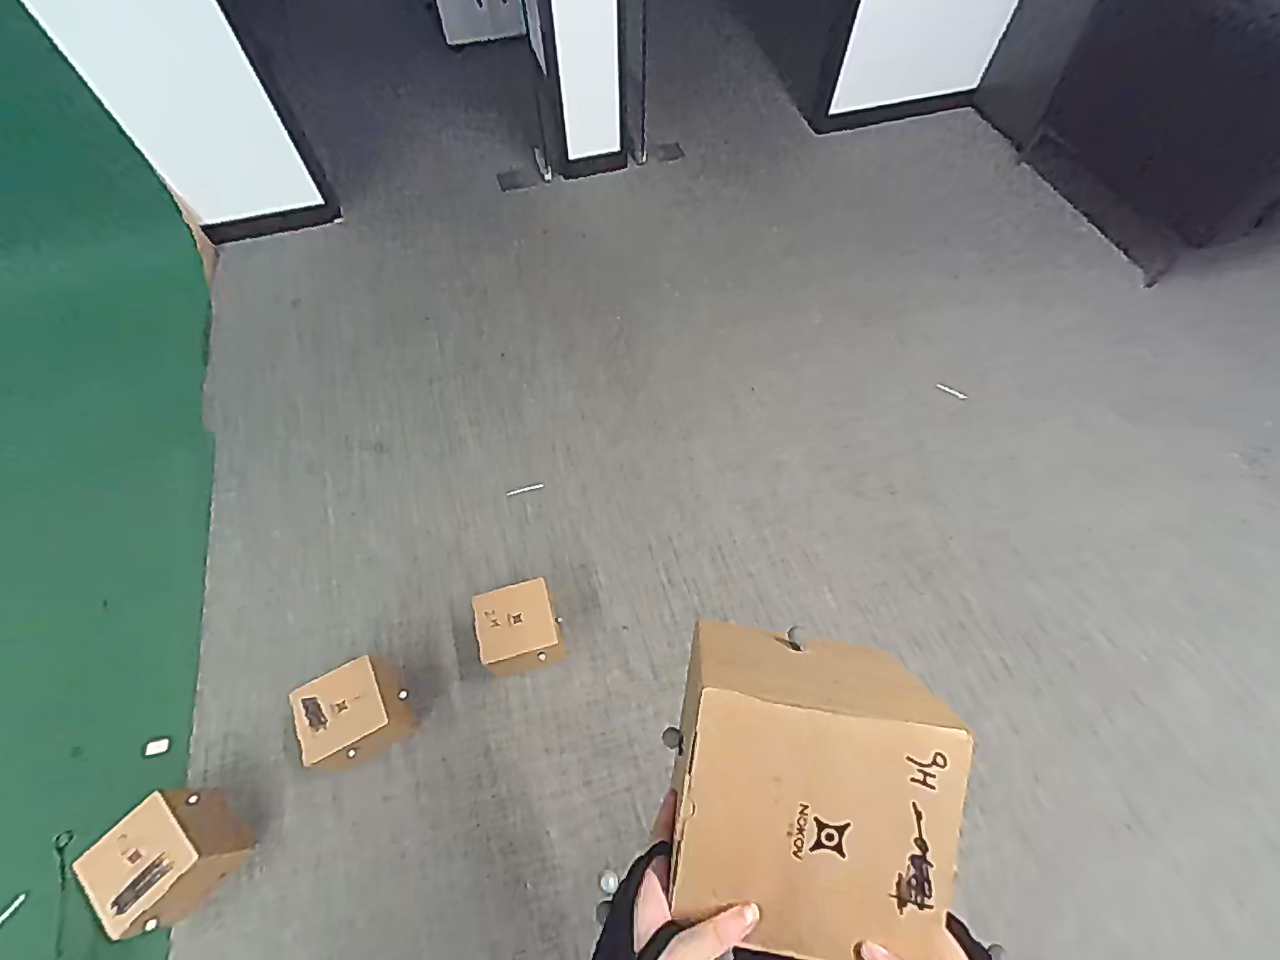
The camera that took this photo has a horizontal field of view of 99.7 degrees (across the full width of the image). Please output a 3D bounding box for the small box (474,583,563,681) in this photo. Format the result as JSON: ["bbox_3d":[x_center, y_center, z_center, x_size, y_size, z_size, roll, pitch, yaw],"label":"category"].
[{"bbox_3d":[-0.289,0.373,1.316,0.179,0.176,0.168,-14,61,-8],"label":"small box"}]

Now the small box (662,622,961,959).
[{"bbox_3d":[0.119,0.223,0.437,0.179,0.176,0.168,8,90,6],"label":"small box"}]

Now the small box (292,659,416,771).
[{"bbox_3d":[-0.640,0.535,1.221,0.179,0.176,0.168,-25,64,-15],"label":"small box"}]
